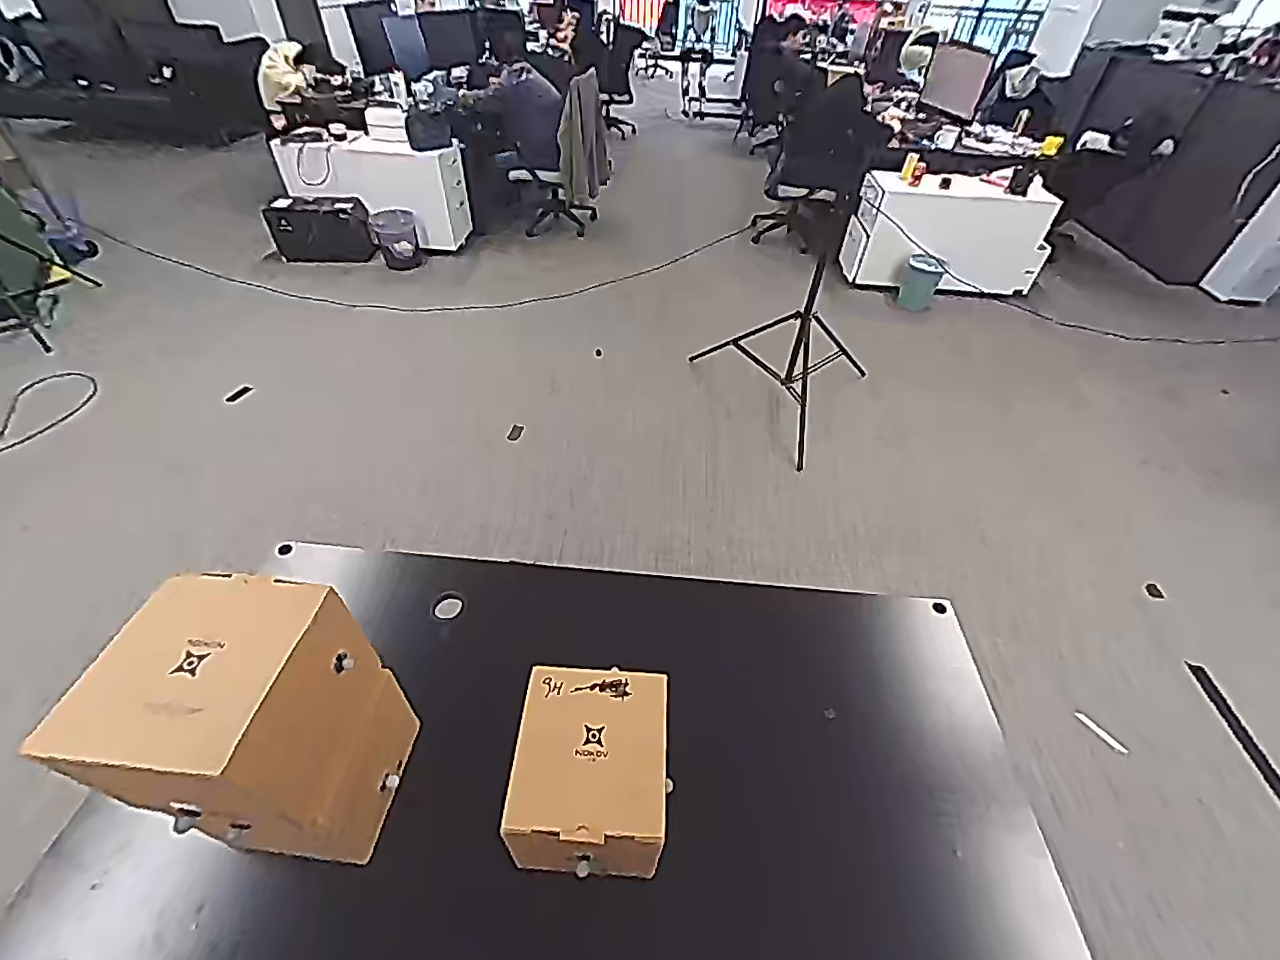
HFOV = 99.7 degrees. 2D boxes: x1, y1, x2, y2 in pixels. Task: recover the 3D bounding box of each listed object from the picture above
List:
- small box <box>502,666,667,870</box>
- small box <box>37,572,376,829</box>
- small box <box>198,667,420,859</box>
[{"bbox_3d":[-0.055,0.349,0.653,0.168,0.176,0.179,4,44,0],"label":"small box"},{"bbox_3d":[-0.388,0.216,0.534,0.168,0.176,0.179,4,45,2],"label":"small box"},{"bbox_3d":[-0.393,0.332,0.647,0.179,0.176,0.168,6,44,2],"label":"small box"}]
